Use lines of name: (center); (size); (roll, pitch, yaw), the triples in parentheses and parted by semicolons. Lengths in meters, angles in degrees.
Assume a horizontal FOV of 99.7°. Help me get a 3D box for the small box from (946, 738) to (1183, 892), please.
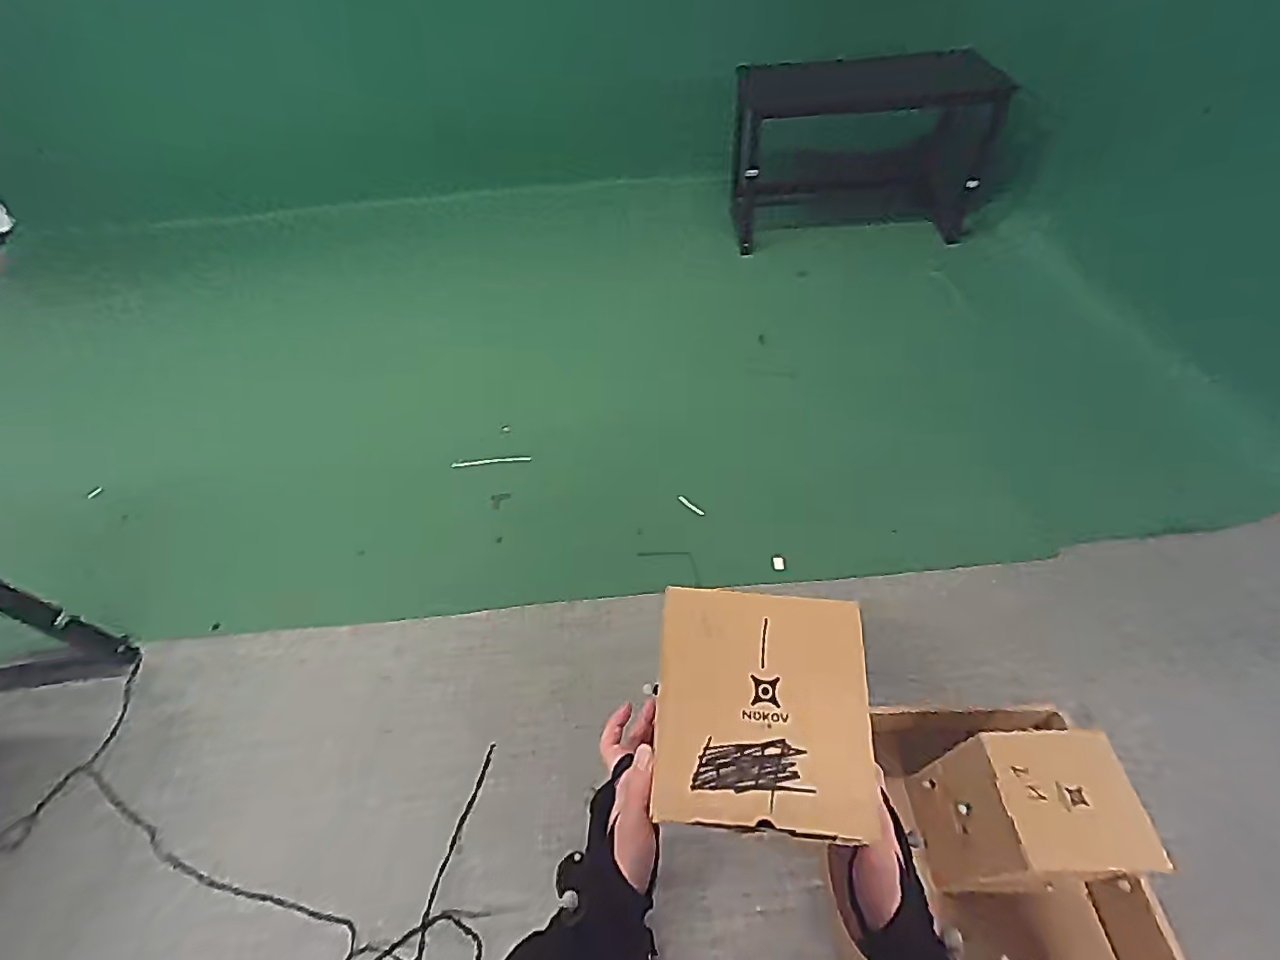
small box: (0.575, 0.475, 0.766); (0.179, 0.176, 0.168); (-2, 50, 3)

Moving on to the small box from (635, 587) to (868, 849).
small box: (0.087, 0.209, 0.487); (0.168, 0.176, 0.179); (4, 63, 3)
